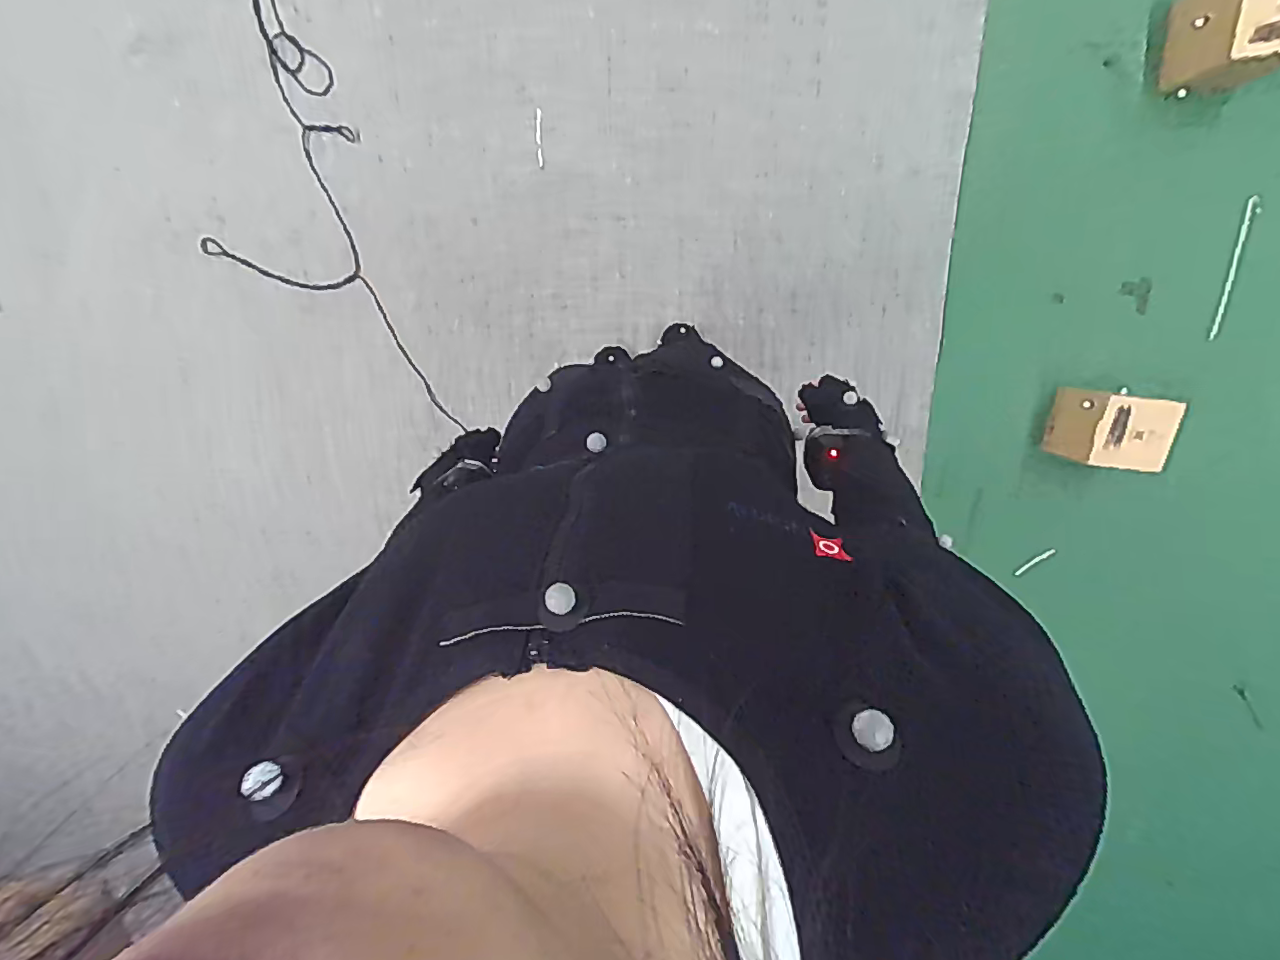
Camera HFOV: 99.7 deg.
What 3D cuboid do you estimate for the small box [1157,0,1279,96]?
[{"bbox_3d":[1.209,-0.905,1.090,0.168,0.176,0.179,-2,104,3],"label":"small box"}]
